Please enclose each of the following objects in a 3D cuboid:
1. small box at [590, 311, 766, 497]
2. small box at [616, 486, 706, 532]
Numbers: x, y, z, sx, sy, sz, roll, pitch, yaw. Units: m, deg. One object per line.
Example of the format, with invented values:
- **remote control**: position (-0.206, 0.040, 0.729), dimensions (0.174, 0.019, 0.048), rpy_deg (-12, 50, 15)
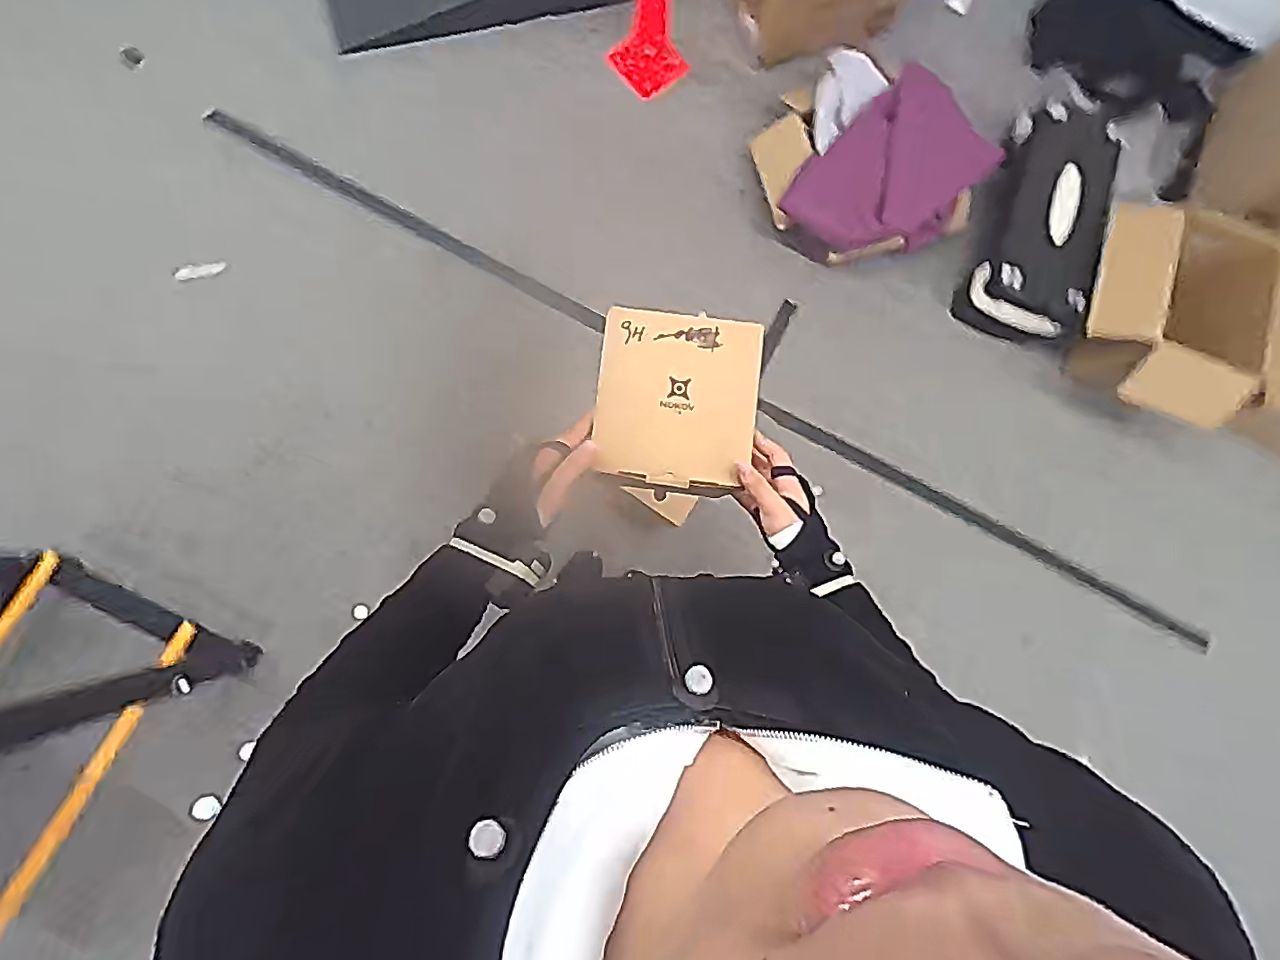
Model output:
- **small box**: position (0.038, -0.074, 0.625), dimensions (0.168, 0.176, 0.179), rpy_deg (5, 86, -1)
- **small box**: position (0.058, -0.006, 1.127), dimensions (0.168, 0.176, 0.179), rpy_deg (34, 82, 1)
